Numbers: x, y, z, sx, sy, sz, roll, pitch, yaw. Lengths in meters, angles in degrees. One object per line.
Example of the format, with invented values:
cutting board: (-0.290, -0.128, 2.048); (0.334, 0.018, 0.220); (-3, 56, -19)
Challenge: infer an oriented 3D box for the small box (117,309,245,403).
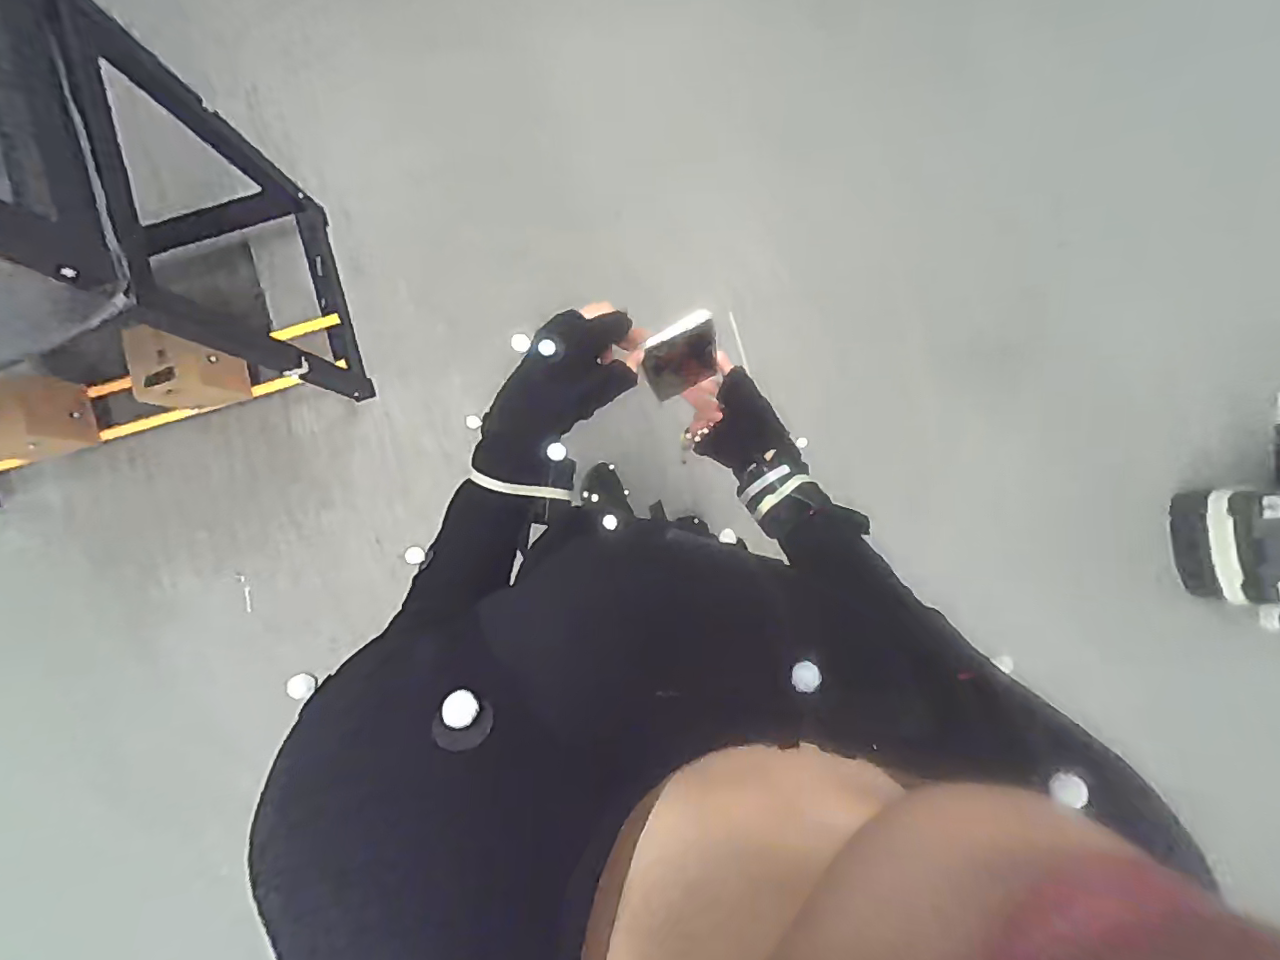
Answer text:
small box: (-1.119, -0.295, 1.334); (0.168, 0.176, 0.179); (-12, 87, 0)
